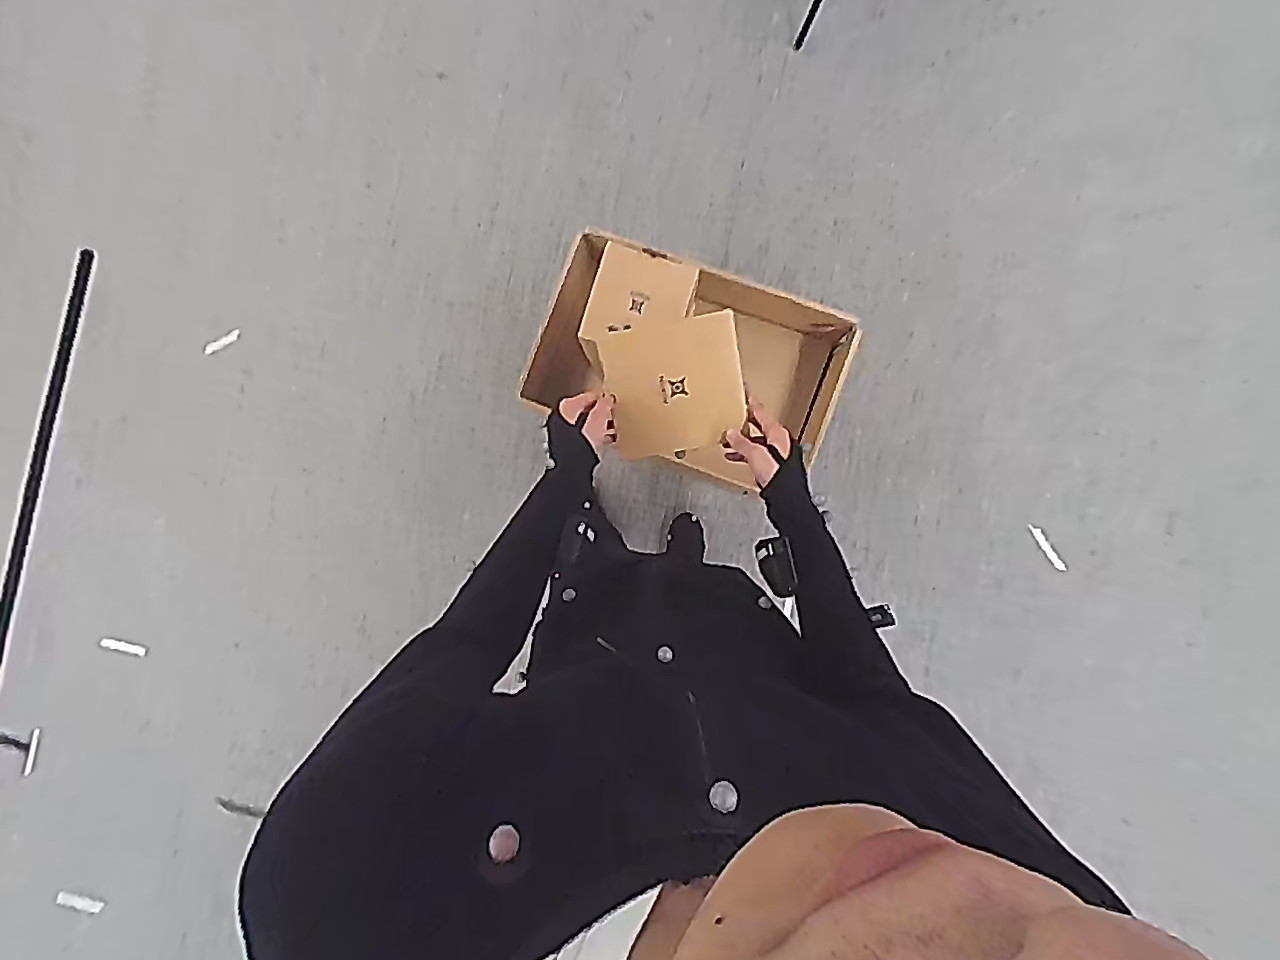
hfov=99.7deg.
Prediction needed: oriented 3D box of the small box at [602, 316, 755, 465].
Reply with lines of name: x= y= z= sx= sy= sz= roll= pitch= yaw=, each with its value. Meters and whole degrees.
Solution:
small box: x=0.053 y=-0.131 z=0.765 sx=0.179 sy=0.176 sz=0.168 roll=-10 pitch=103 yaw=6

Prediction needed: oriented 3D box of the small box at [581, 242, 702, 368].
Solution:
small box: x=0.003 y=-0.293 z=0.988 sx=0.168 sy=0.176 sz=0.179 roll=18 pitch=88 yaw=2
